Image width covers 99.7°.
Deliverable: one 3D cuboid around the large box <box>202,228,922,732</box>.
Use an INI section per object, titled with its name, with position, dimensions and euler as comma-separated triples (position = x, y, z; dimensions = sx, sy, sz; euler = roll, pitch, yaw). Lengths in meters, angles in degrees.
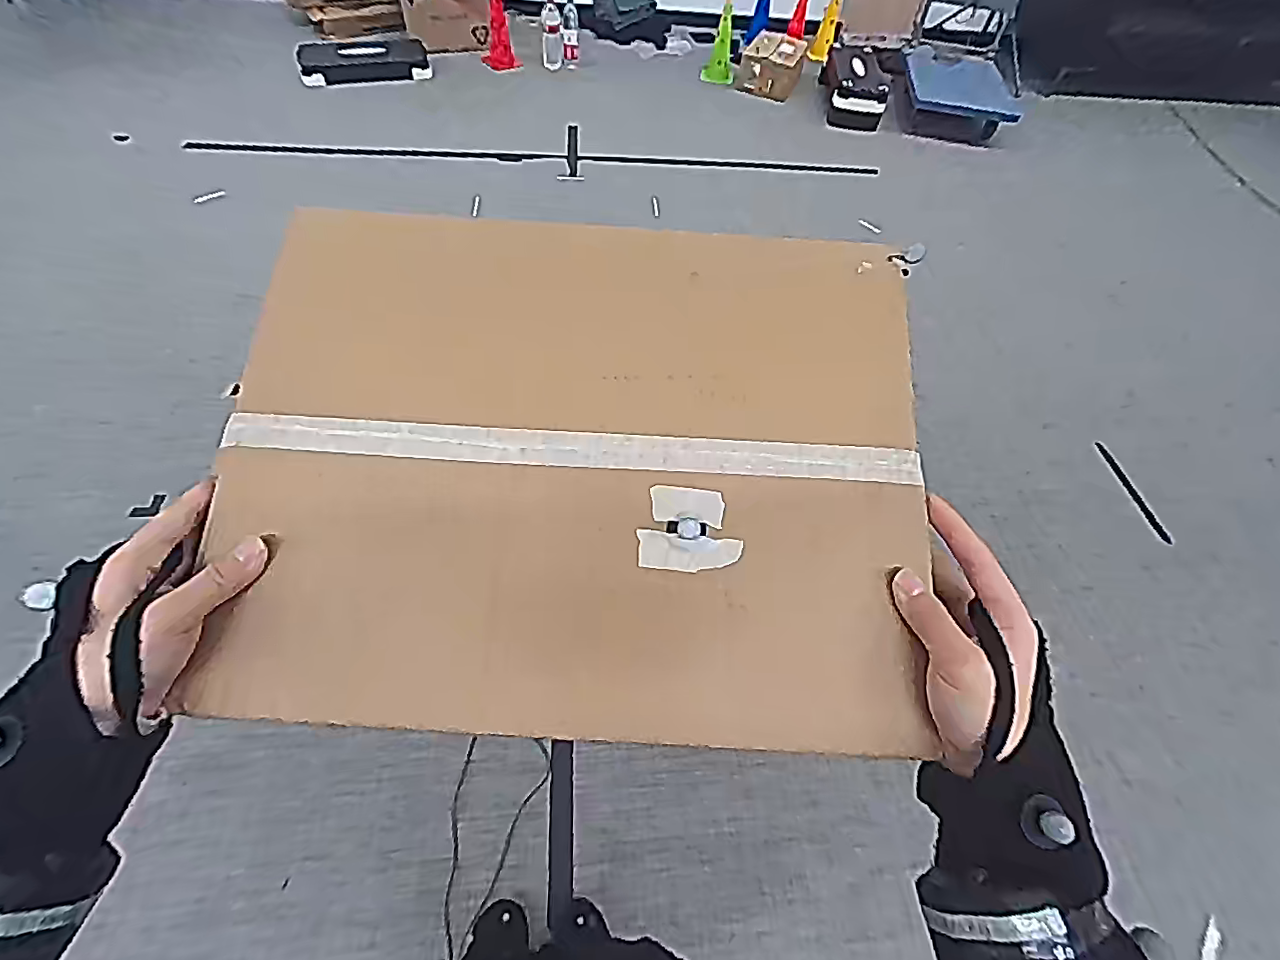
[large box]
position = -0.039, 0.022, 0.477
dimensions = 0.408, 0.320, 0.320
euler = 4, 75, -1
